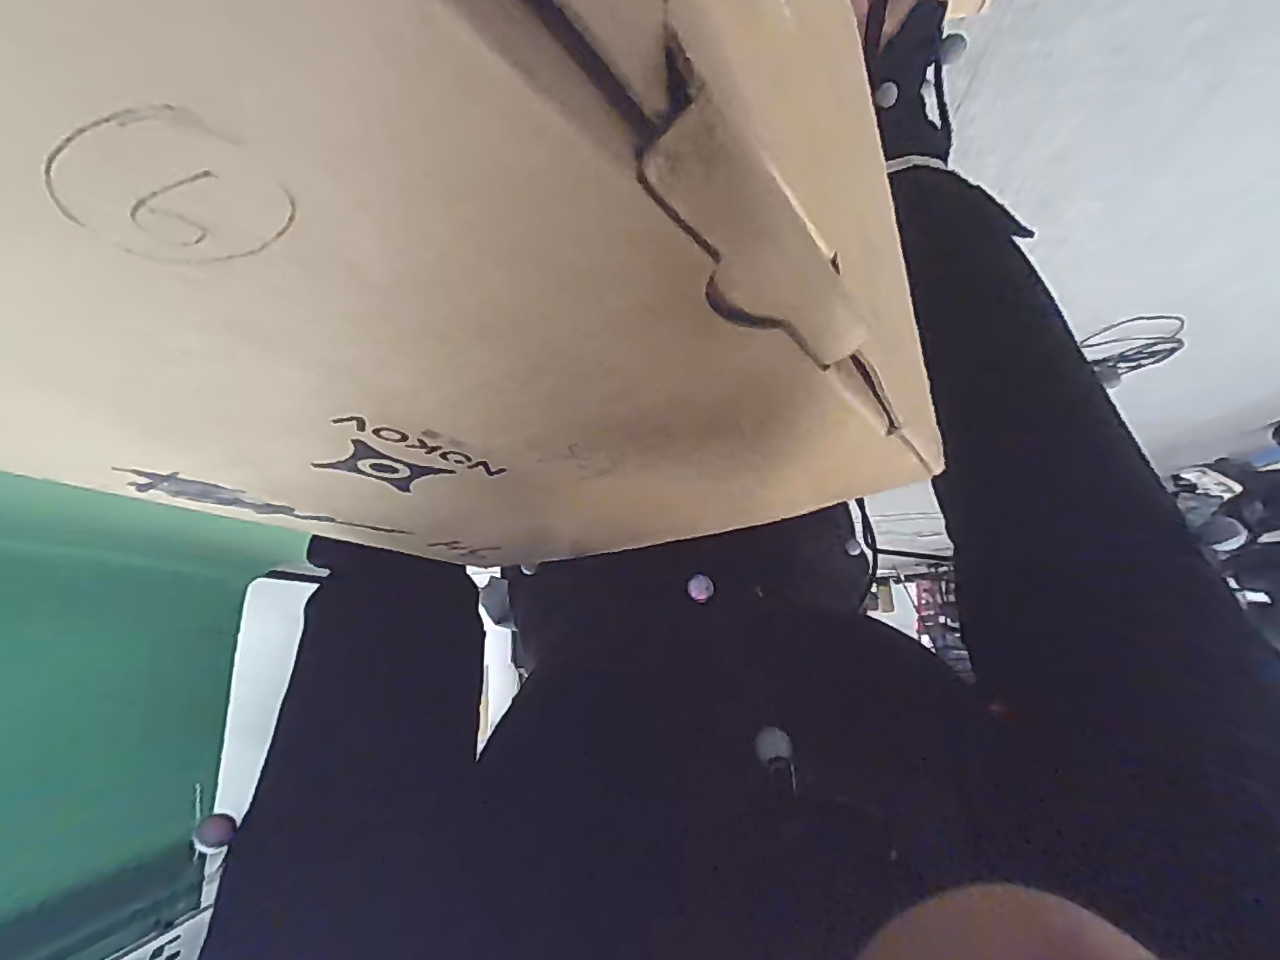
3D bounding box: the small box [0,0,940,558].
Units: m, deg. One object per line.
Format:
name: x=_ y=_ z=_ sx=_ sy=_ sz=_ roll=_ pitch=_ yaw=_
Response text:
small box: x=-0.049 y=-0.085 z=0.143 sx=0.179 sy=0.176 sz=0.168 roll=-16 pitch=154 yaw=37
